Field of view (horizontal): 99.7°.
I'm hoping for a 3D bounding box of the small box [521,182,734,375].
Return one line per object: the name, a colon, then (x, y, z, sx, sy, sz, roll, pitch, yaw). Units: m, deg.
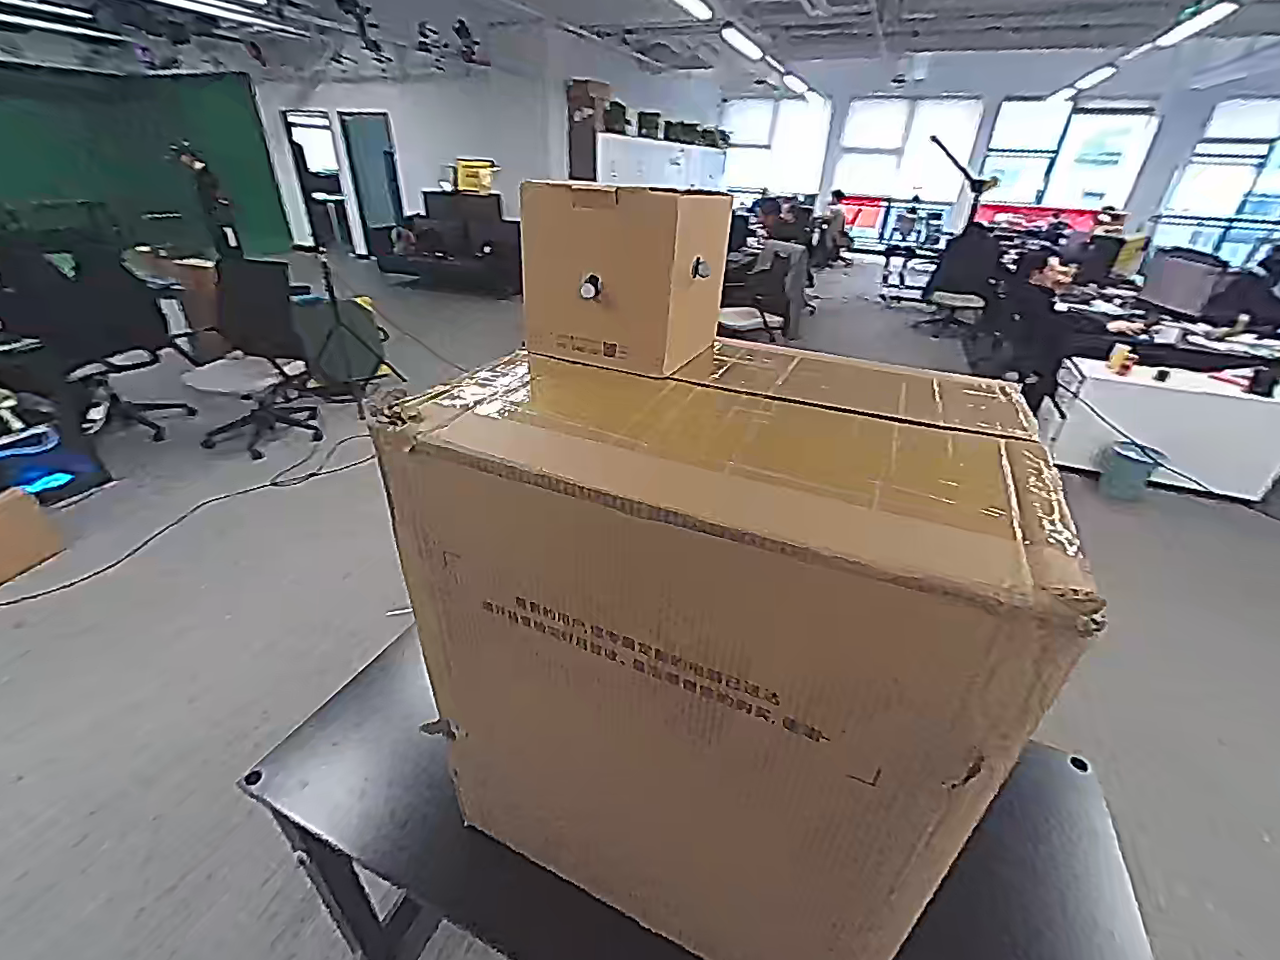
small box: (-0.007, -0.224, 0.588, 0.168, 0.176, 0.179, 15, 31, 19)
